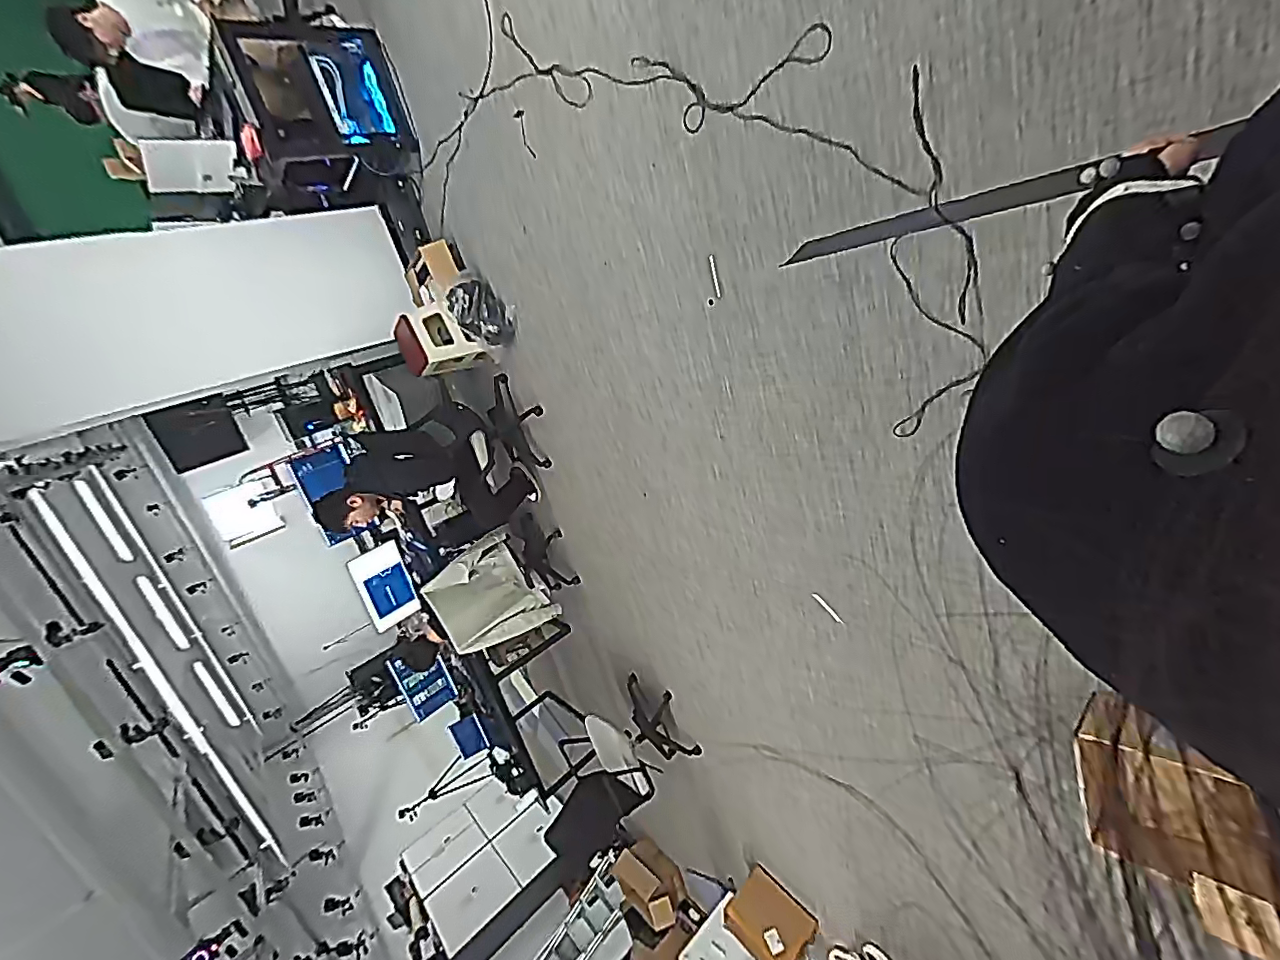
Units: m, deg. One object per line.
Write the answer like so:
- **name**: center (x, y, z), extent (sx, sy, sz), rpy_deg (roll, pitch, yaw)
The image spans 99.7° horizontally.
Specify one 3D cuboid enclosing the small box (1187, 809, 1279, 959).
- **small box**: center (1.288, 0.854, 1.142), extent (0.168, 0.176, 0.179), rpy_deg (1, 115, 52)
